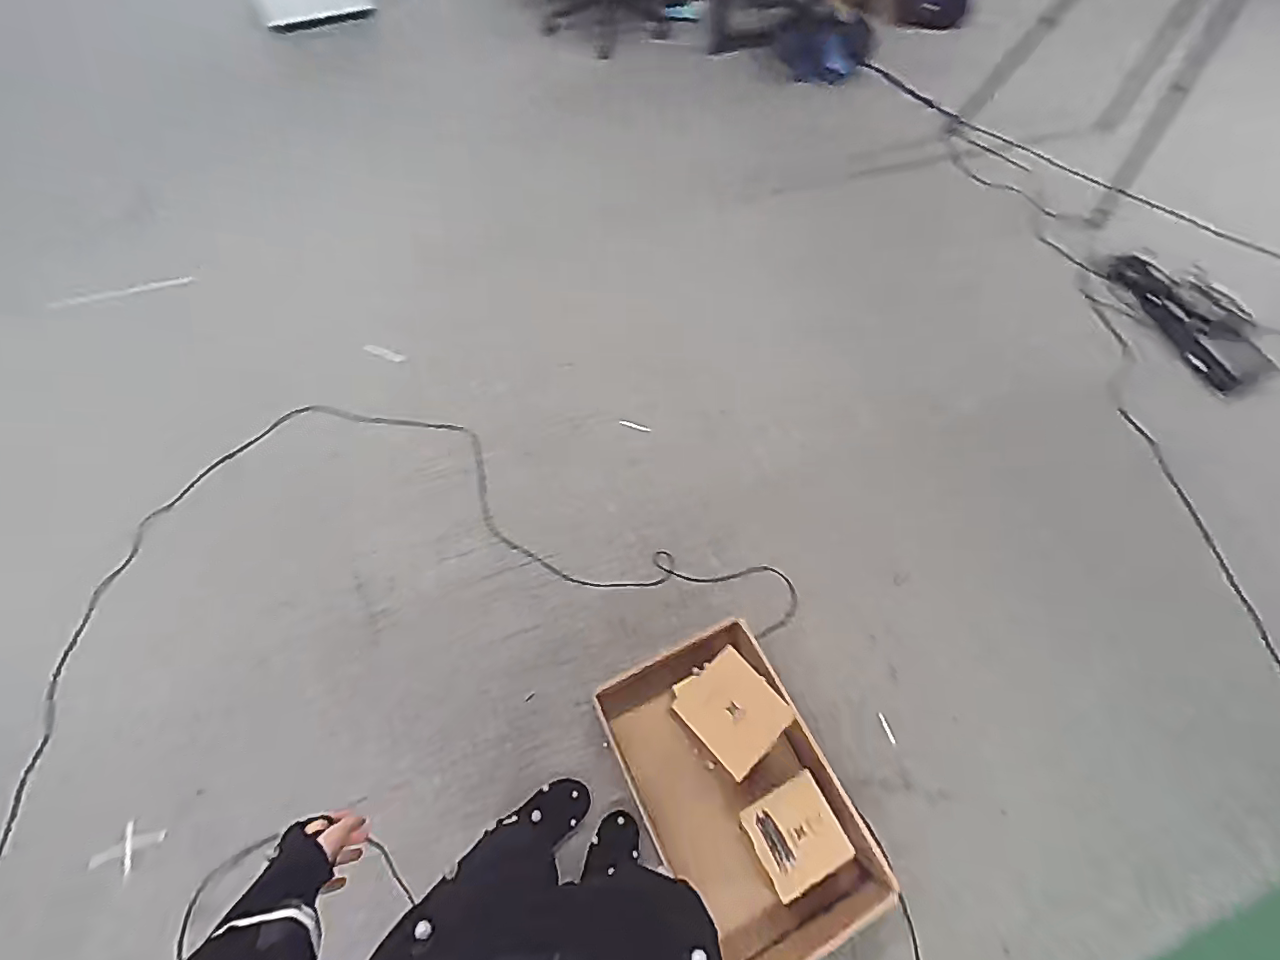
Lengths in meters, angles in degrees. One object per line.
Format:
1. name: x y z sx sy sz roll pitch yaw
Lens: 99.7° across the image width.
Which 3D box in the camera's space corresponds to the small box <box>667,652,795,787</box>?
1. small box: 0.173 0.475 1.083 0.168 0.176 0.179 -38 71 -19
